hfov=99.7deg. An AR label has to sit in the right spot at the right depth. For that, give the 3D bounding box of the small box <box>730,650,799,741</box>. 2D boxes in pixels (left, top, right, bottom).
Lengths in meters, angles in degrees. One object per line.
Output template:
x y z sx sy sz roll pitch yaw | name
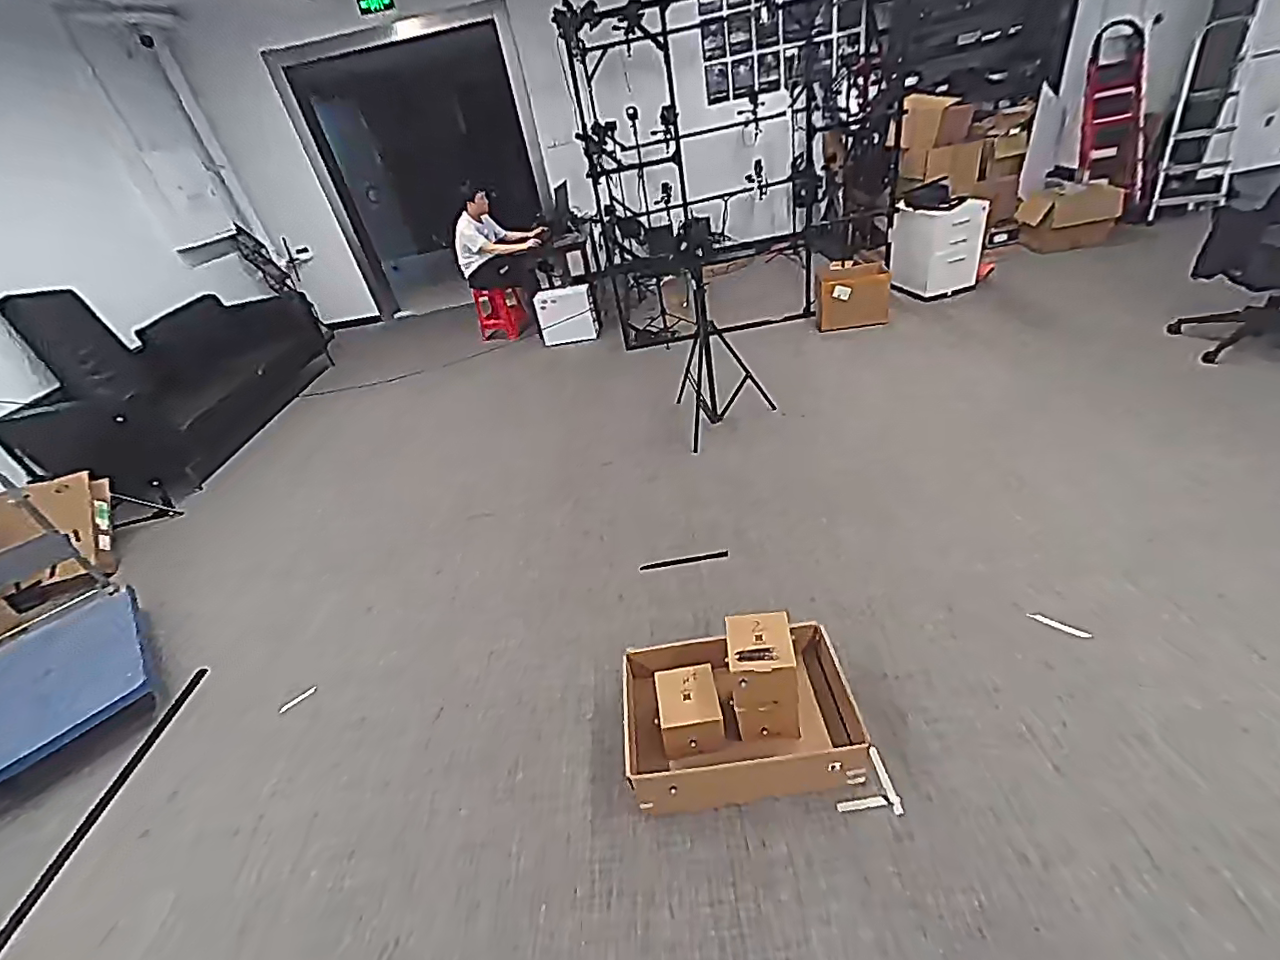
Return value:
0.352 0.612 1.538 0.168 0.176 0.179 -9 35 8 | small box

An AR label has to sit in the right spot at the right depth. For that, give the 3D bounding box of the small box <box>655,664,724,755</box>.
0.140 0.655 1.533 0.168 0.176 0.179 -9 34 0 | small box
